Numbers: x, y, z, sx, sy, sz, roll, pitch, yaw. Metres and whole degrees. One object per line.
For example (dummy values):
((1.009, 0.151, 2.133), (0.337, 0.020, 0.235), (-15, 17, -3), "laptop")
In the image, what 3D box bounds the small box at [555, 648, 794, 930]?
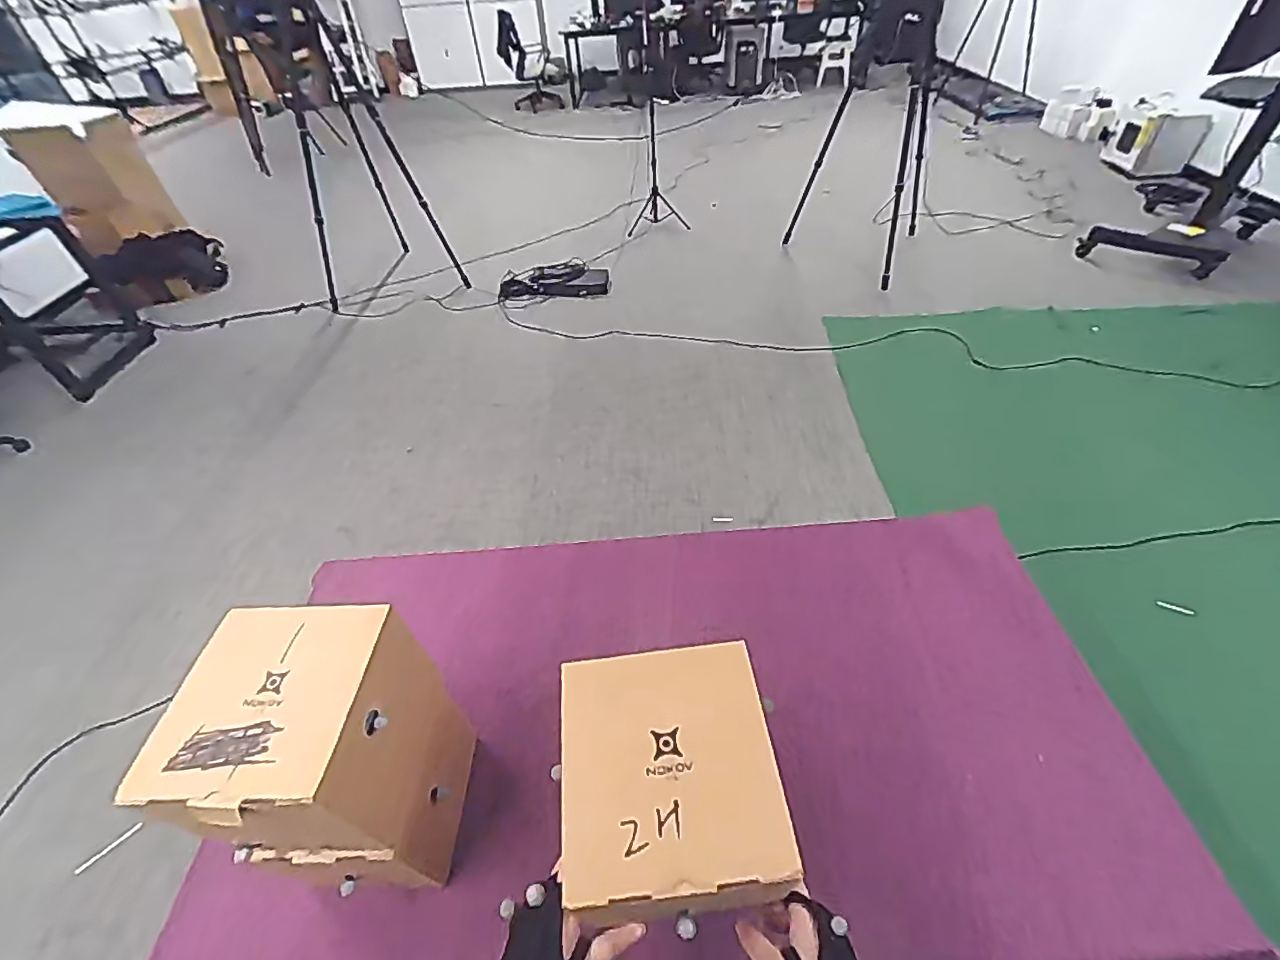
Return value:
((0.022, 0.273, 0.479), (0.168, 0.176, 0.179), (-5, 47, 0), "small box")

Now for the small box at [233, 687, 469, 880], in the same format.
((-0.318, 0.361, 0.645), (0.168, 0.176, 0.179), (-1, 46, 2), "small box")

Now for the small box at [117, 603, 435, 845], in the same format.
((-0.323, 0.241, 0.533), (0.168, 0.176, 0.179), (-1, 44, 3), "small box")
